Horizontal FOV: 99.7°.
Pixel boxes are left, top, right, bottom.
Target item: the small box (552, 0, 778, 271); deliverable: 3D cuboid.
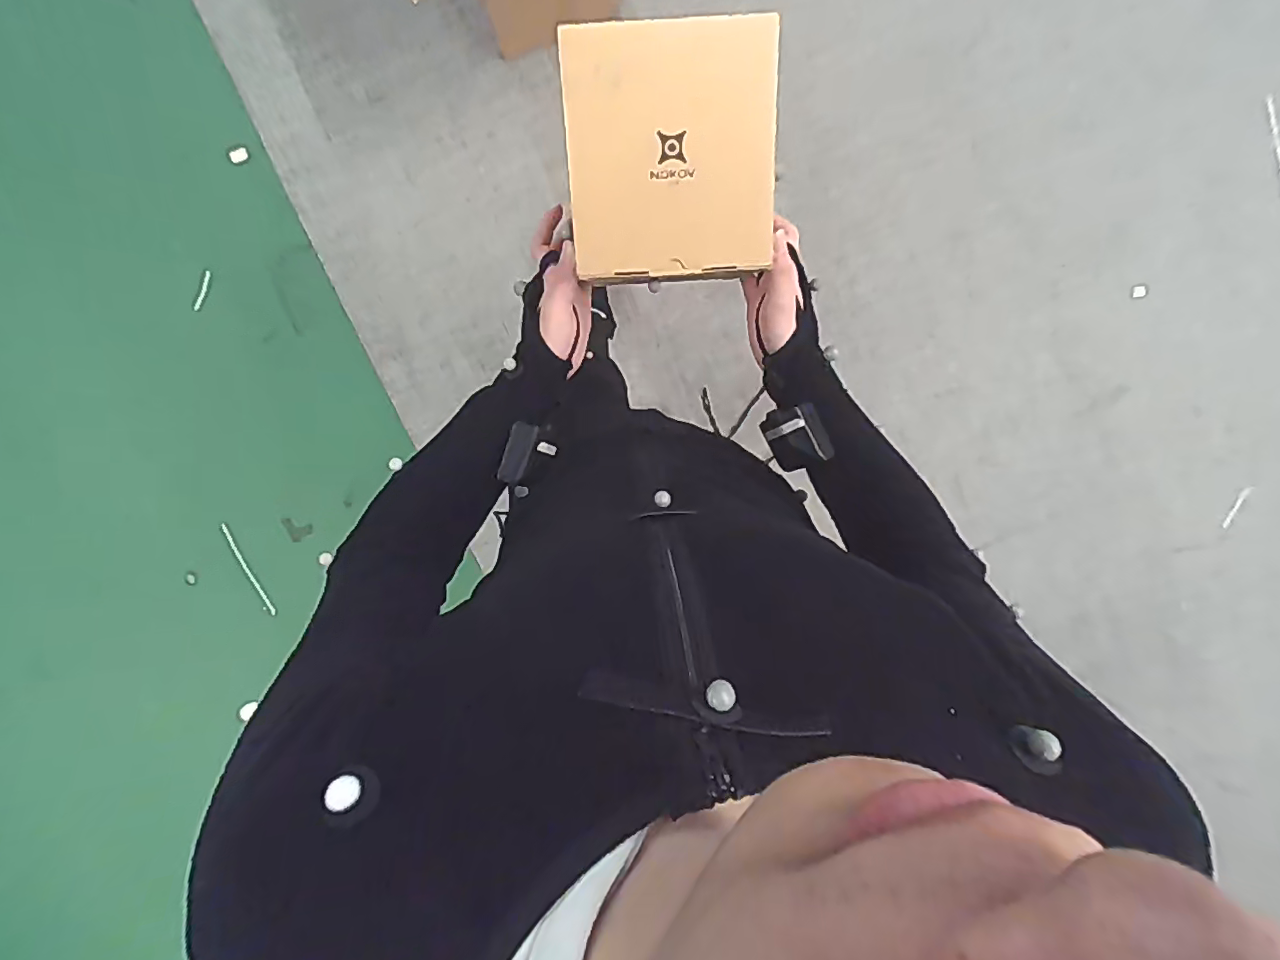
[{"bbox_3d":[0.018,-0.287,0.485,0.168,0.176,0.179,-3,110,0],"label":"small box"}]
